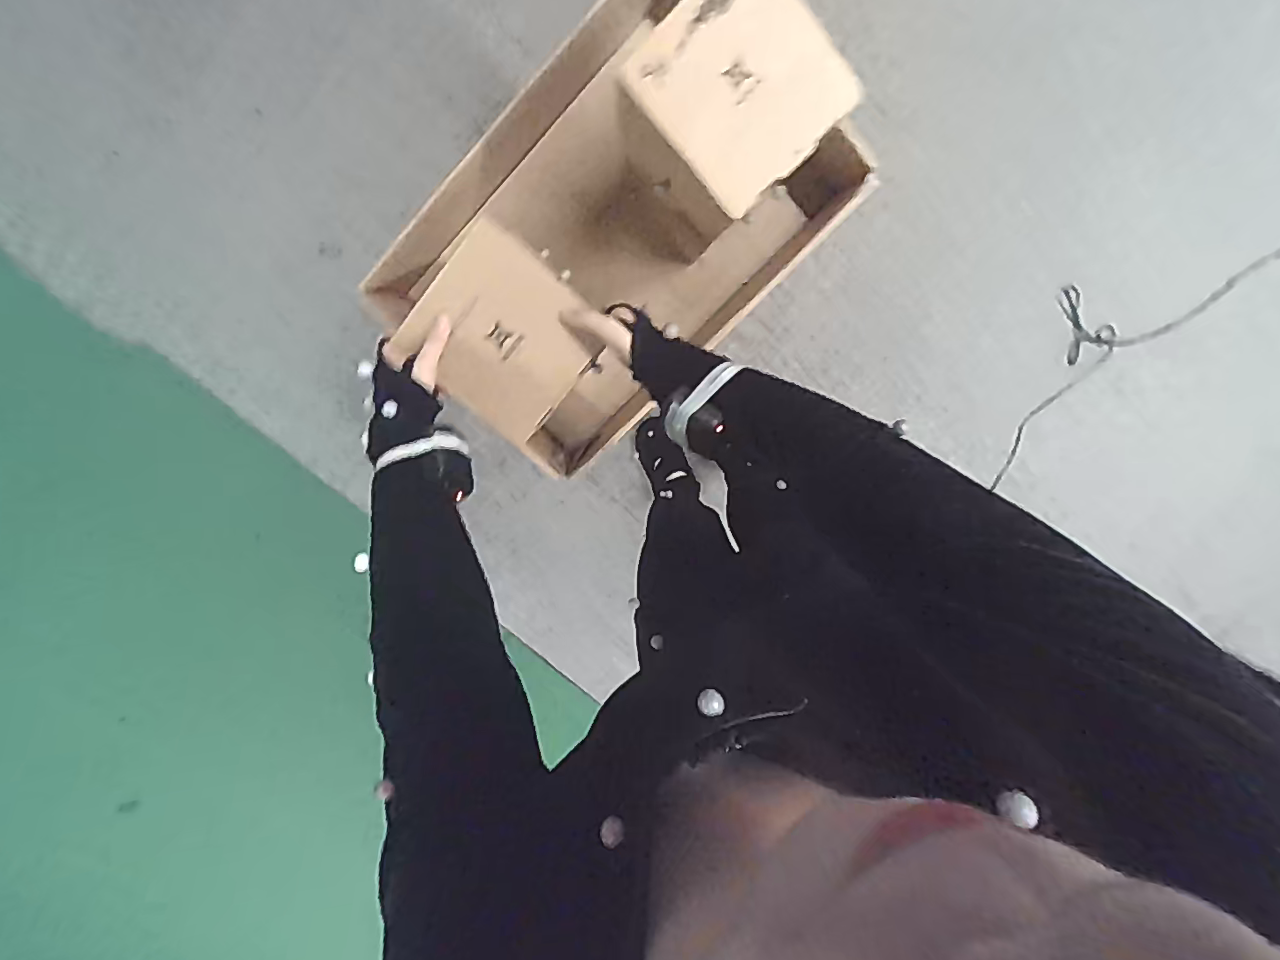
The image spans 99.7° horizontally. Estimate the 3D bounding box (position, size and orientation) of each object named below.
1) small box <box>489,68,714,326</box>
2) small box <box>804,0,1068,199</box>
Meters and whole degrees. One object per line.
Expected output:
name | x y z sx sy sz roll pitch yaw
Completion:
small box | -0.029 -0.290 0.589 0.168 0.176 0.179 -23 108 11
small box | 0.276 -0.394 0.532 0.168 0.176 0.179 -17 110 8
